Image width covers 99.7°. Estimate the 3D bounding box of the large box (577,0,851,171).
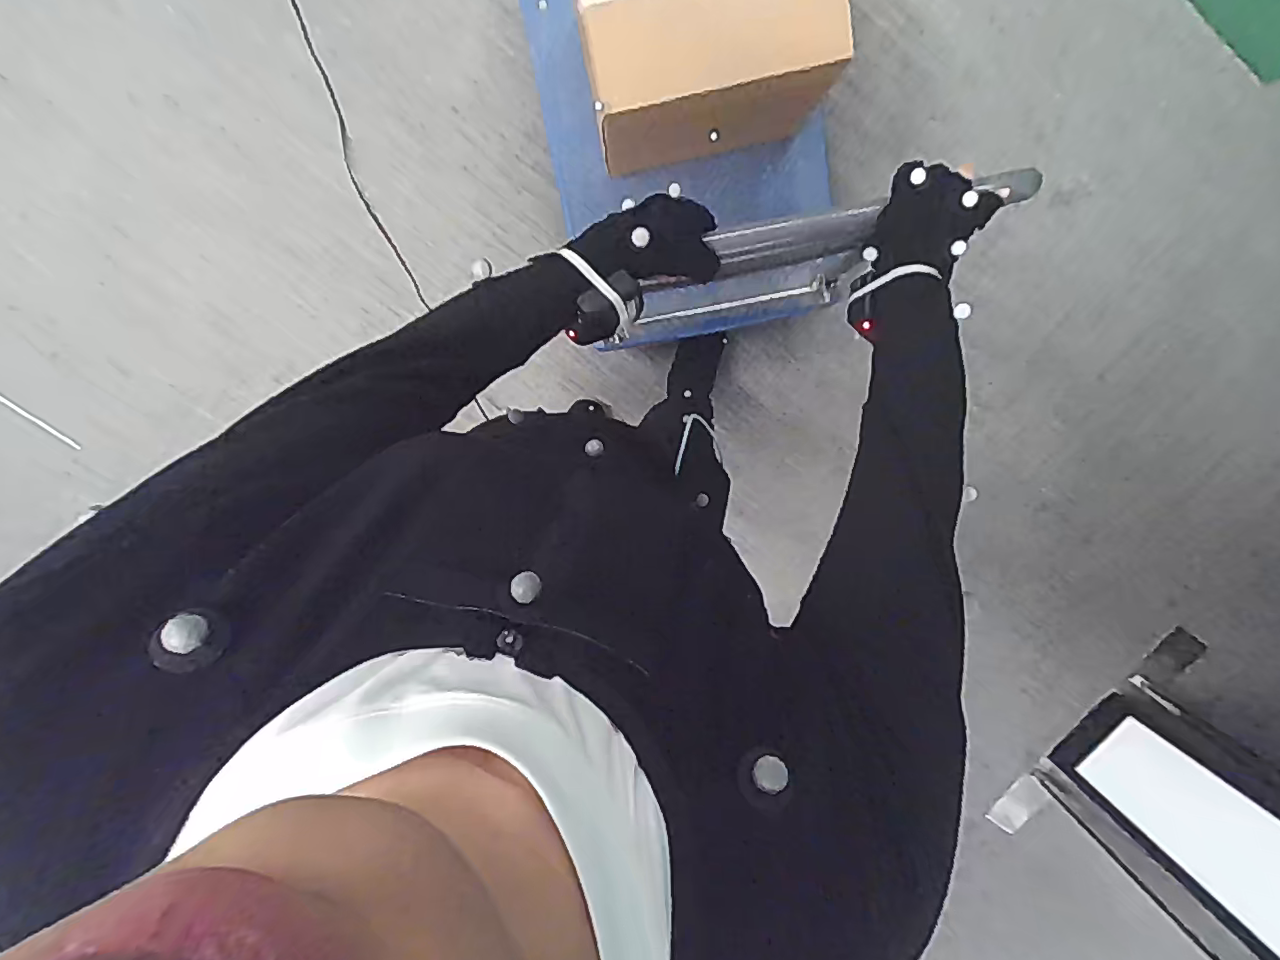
[{"bbox_3d":[0.107,-0.806,0.969,0.408,0.320,0.320,-12,103,2],"label":"large box"}]
